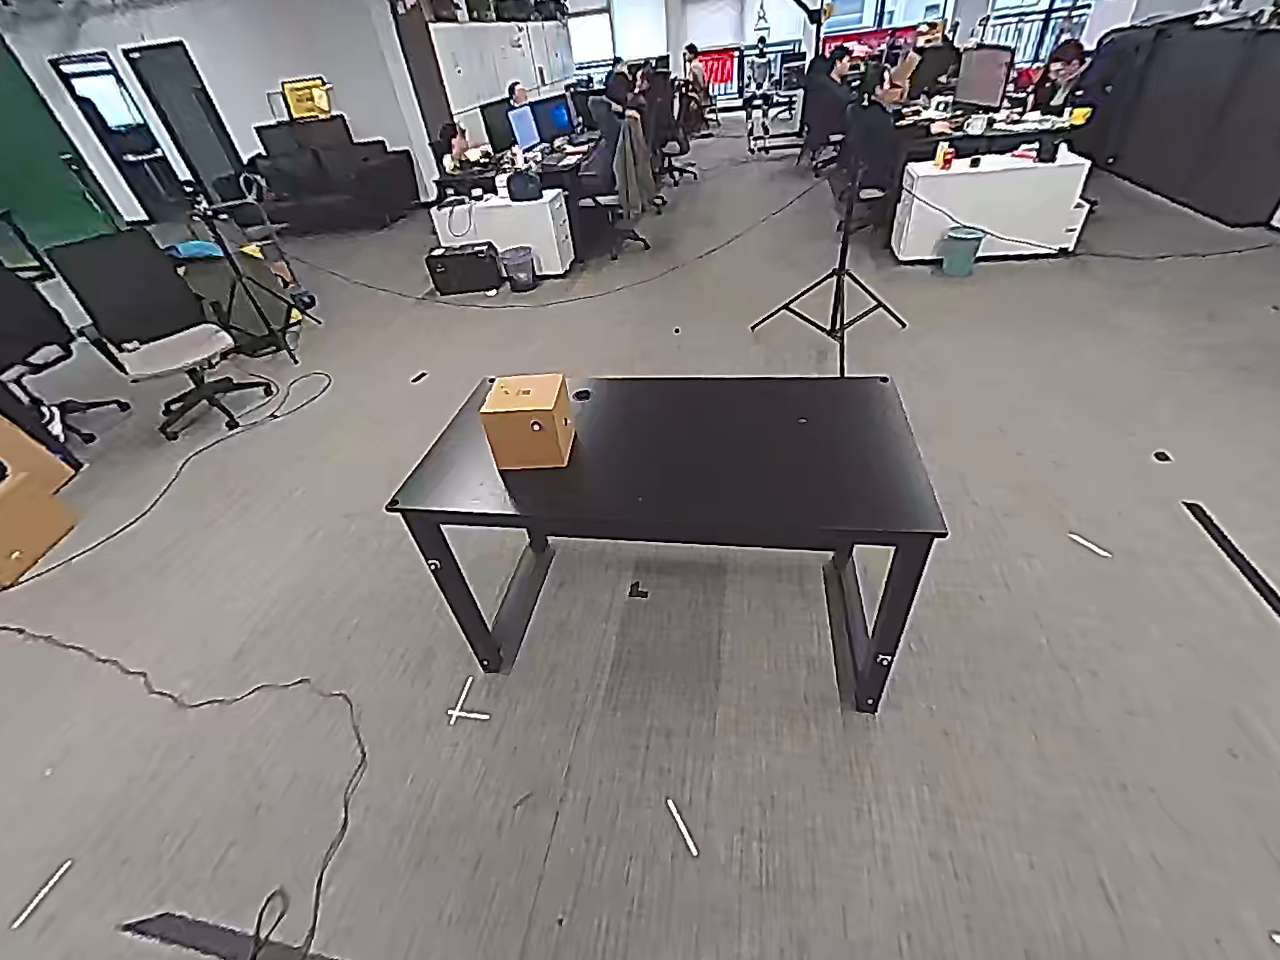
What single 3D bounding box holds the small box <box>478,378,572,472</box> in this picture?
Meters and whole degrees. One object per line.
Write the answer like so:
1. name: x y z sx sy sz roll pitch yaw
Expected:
1. small box: -0.272 -0.134 1.335 0.179 0.176 0.168 -3 39 6
